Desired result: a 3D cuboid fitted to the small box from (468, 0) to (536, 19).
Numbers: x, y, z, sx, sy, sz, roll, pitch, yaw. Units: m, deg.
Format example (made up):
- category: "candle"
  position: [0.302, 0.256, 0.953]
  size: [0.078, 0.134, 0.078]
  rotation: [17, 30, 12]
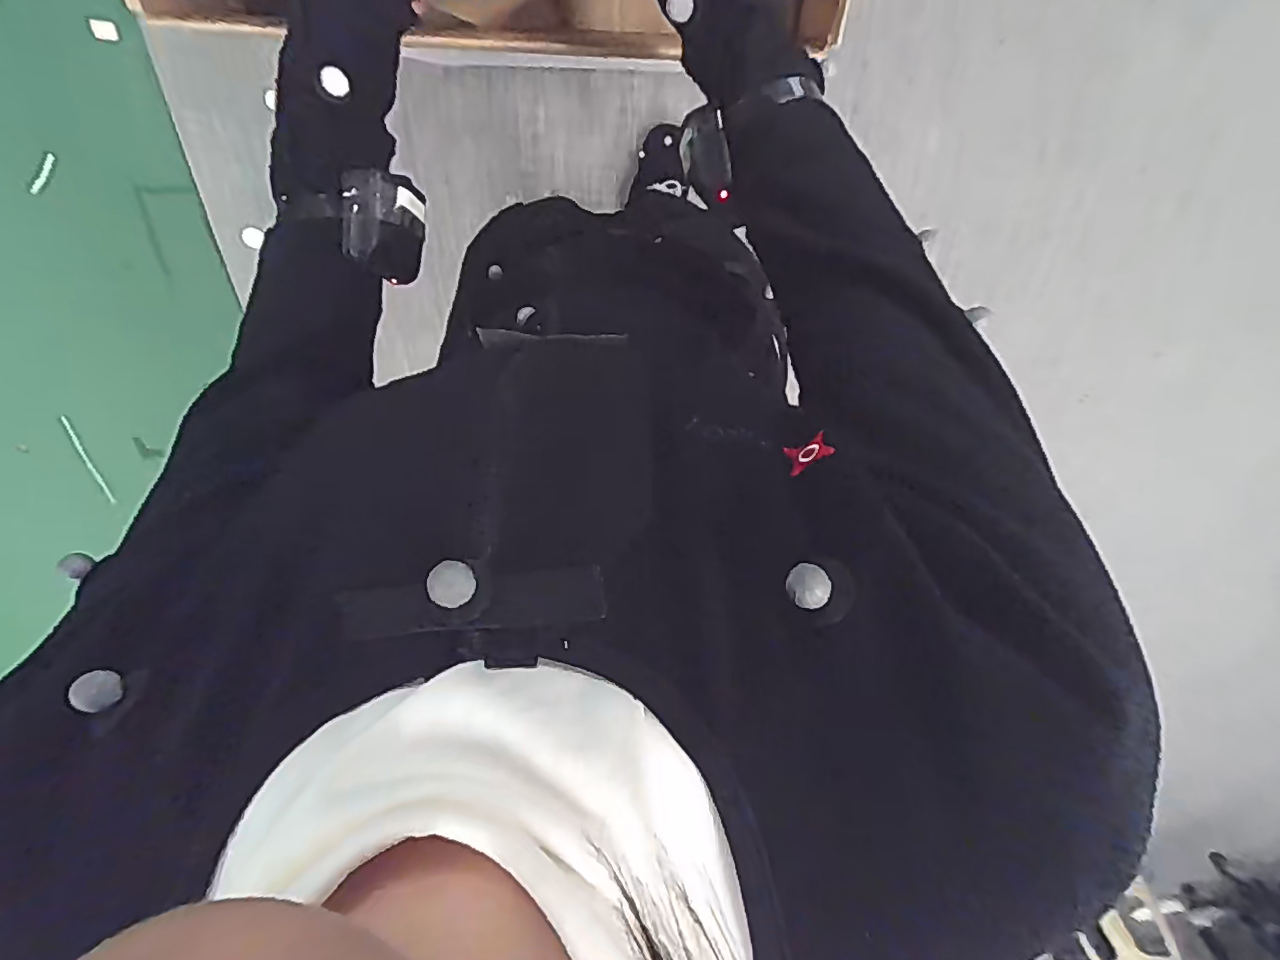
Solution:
- category: "small box"
  position: [-0.106, -0.480, 0.385]
  size: [0.168, 0.176, 0.179]
  rotation: [-17, 120, 17]
